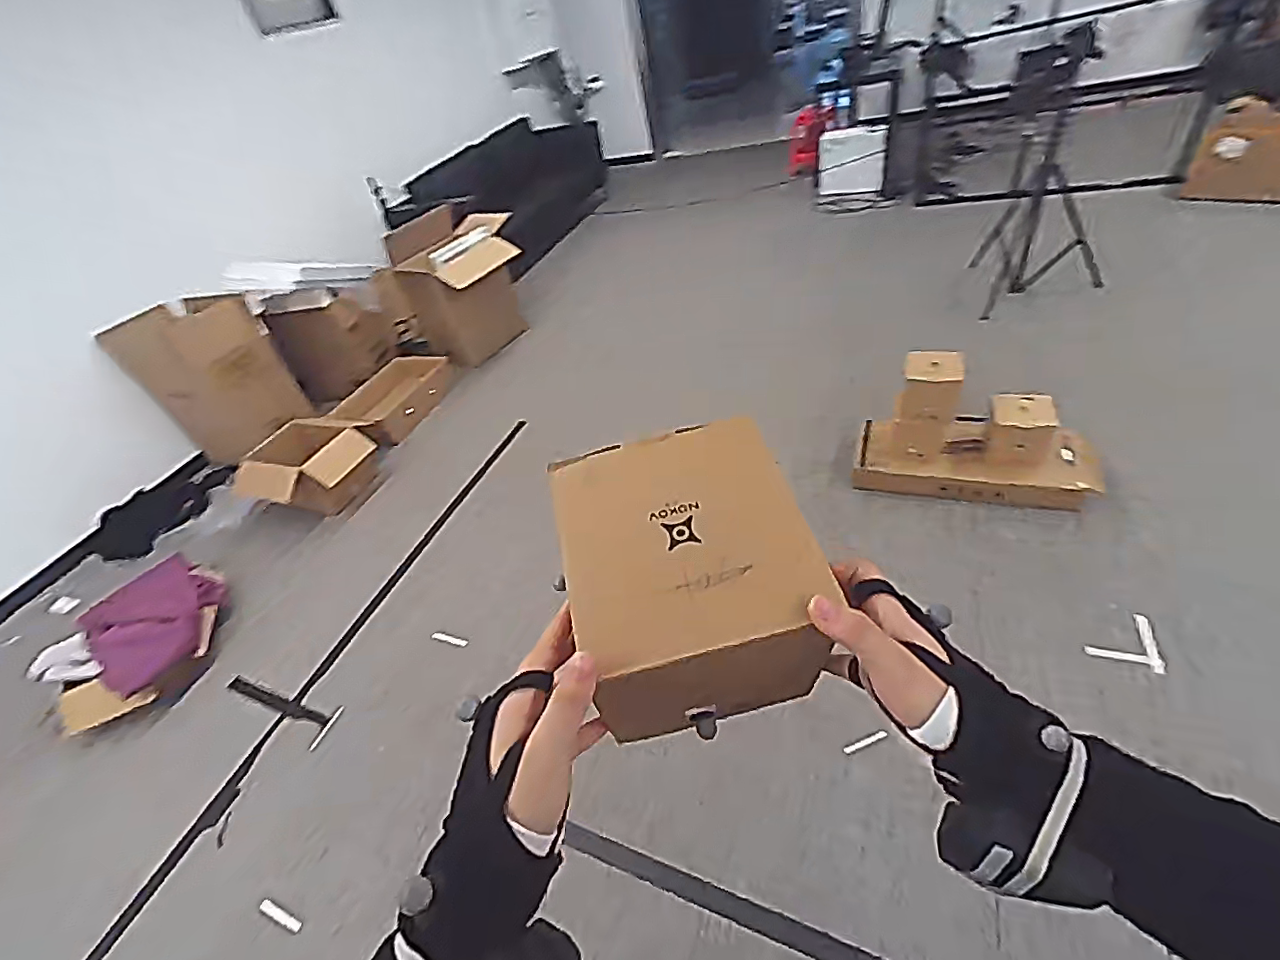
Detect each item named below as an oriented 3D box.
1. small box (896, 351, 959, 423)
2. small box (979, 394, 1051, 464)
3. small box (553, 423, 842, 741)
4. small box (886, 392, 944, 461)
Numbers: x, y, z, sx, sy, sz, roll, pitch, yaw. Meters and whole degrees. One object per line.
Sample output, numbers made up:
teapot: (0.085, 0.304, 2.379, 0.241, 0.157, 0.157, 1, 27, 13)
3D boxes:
small box: (0.968, -0.316, 1.824, 0.168, 0.176, 0.179, 7, 46, 23)
small box: (1.258, -0.170, 1.824, 0.168, 0.176, 0.179, 6, 45, 22)
small box: (0.034, 0.085, 0.436, 0.168, 0.176, 0.179, -13, 53, -3)
small box: (0.980, -0.193, 1.935, 0.168, 0.176, 0.179, 6, 46, 22)
